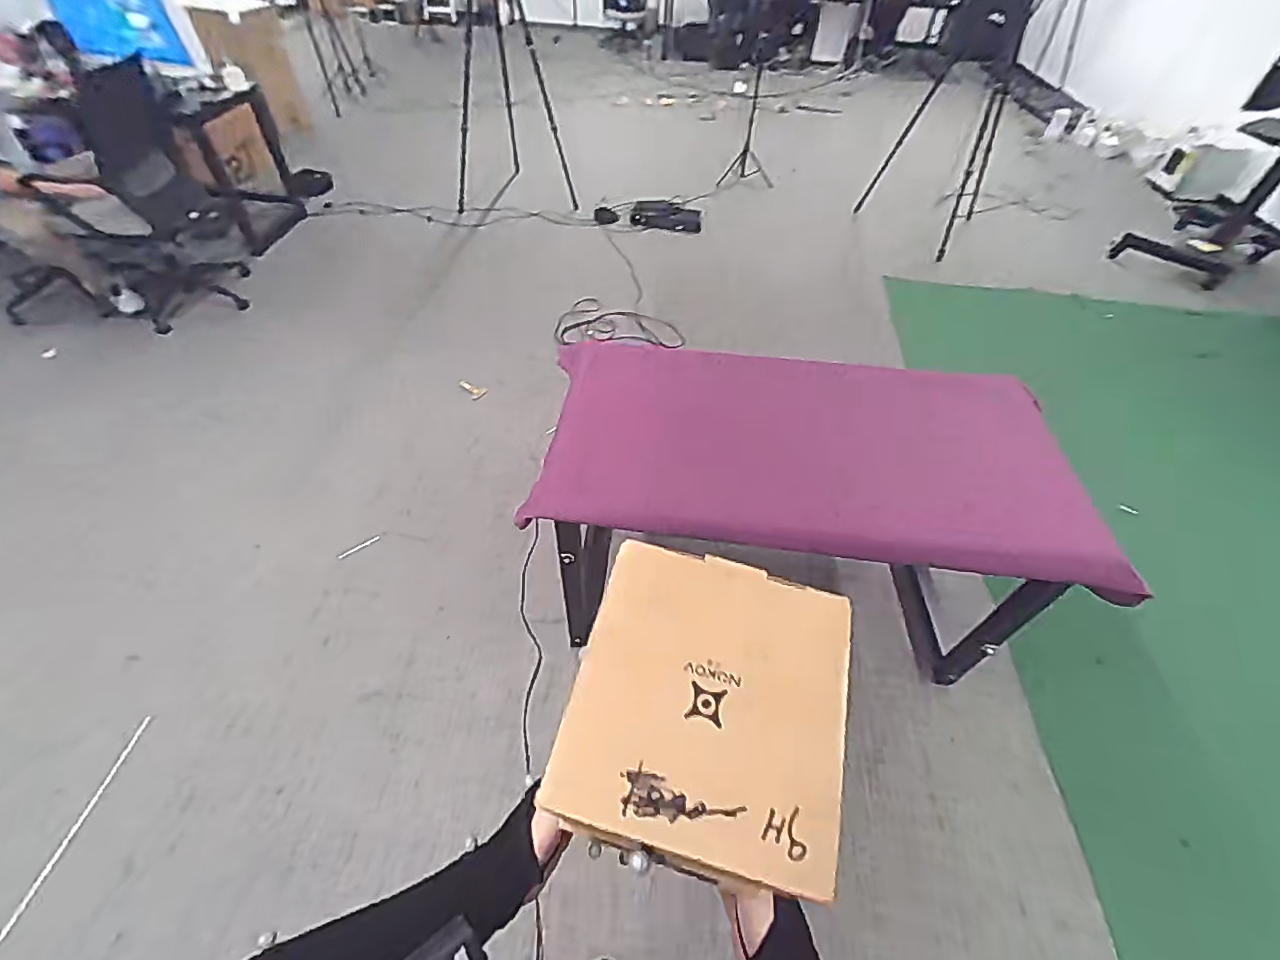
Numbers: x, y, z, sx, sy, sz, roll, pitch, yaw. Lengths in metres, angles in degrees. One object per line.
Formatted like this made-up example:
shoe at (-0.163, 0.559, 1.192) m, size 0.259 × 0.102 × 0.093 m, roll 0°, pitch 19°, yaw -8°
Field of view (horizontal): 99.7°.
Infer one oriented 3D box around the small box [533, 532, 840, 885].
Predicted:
small box at (0.036, 0.170, 0.403) m, size 0.168 × 0.176 × 0.179 m, roll 14°, pitch 55°, yaw 8°
